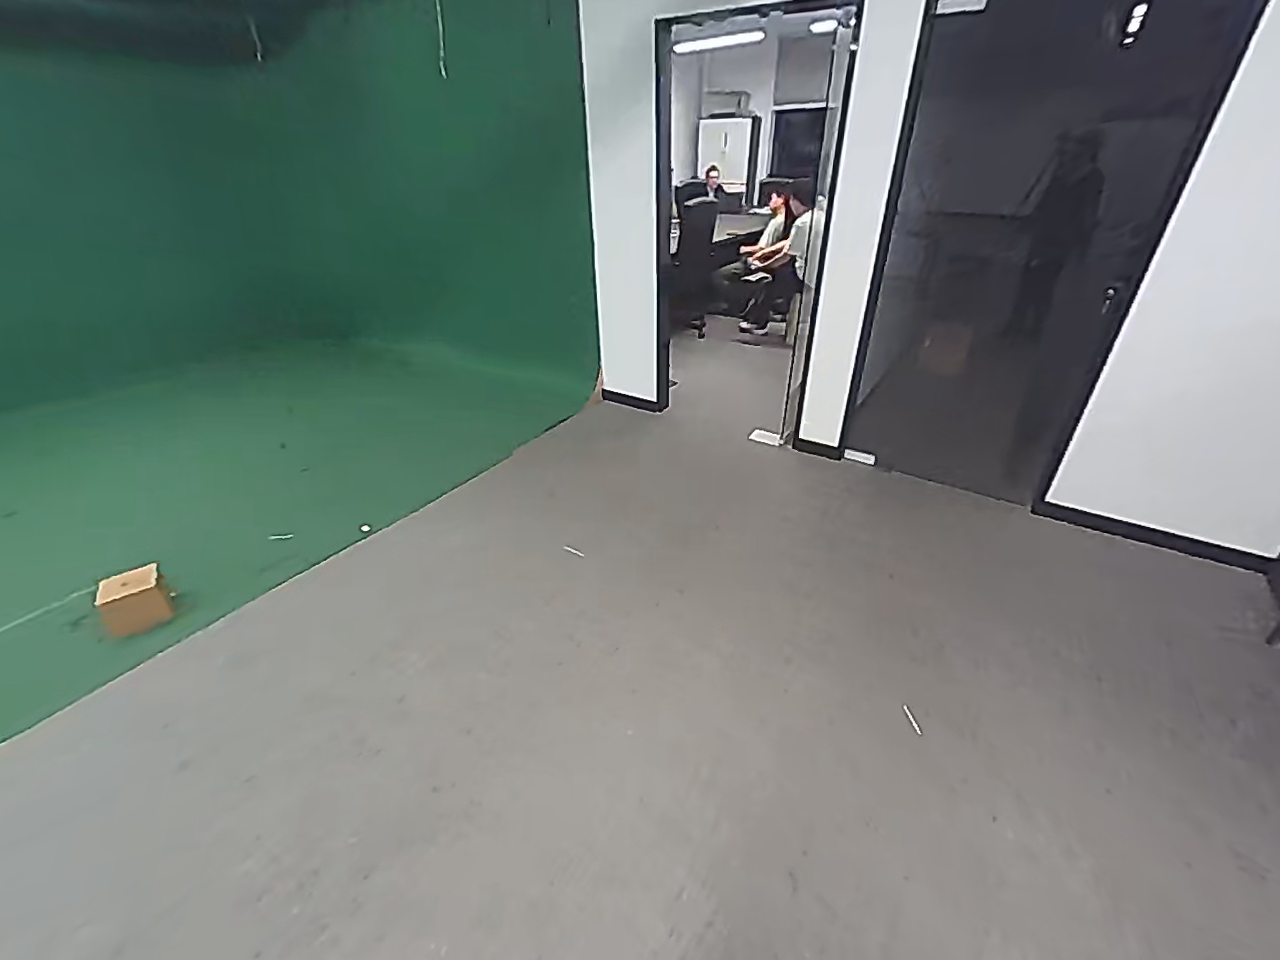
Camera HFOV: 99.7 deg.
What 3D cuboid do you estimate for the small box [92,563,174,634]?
[{"bbox_3d":[-1.923,0.453,2.057,0.179,0.176,0.168,-21,37,-30],"label":"small box"}]
